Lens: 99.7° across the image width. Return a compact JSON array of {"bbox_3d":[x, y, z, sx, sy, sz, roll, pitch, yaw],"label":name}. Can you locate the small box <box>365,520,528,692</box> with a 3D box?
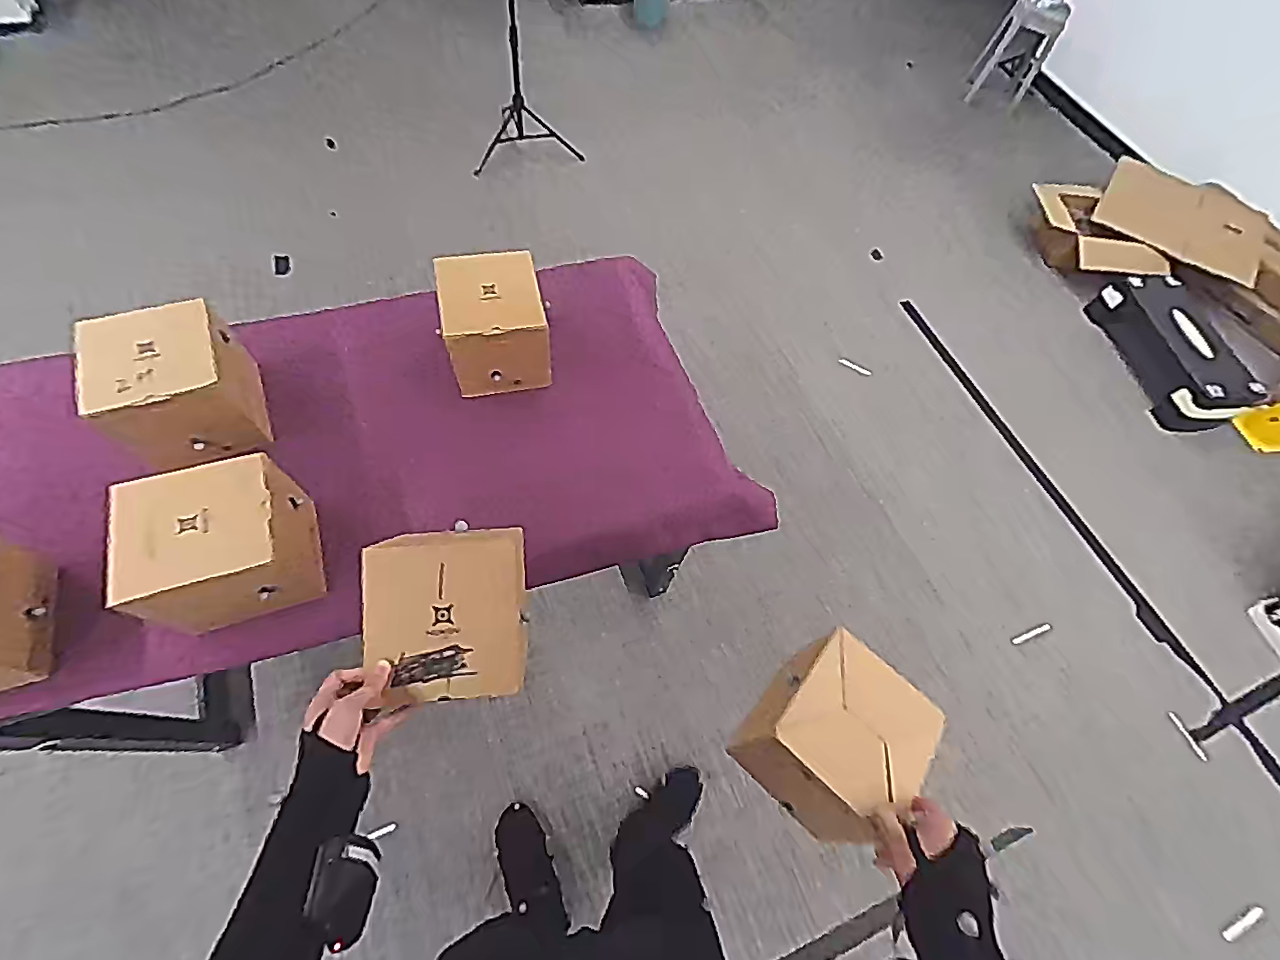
[{"bbox_3d":[-0.232,0.147,0.688,0.168,0.176,0.179,-3,89,-9],"label":"small box"}]

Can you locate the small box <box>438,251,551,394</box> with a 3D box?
[{"bbox_3d":[-0.257,-0.280,0.976,0.168,0.176,0.179,-10,66,-12],"label":"small box"}]

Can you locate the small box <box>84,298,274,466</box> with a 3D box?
[{"bbox_3d":[-0.710,-0.149,0.848,0.168,0.176,0.179,-19,67,-16],"label":"small box"}]

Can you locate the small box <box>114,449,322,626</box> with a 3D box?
[{"bbox_3d":[-0.562,0.084,0.745,0.179,0.176,0.168,-15,66,-16],"label":"small box"}]

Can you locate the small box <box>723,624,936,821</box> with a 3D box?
[{"bbox_3d":[0.242,0.309,0.699,0.168,0.176,0.179,40,58,12],"label":"small box"}]
